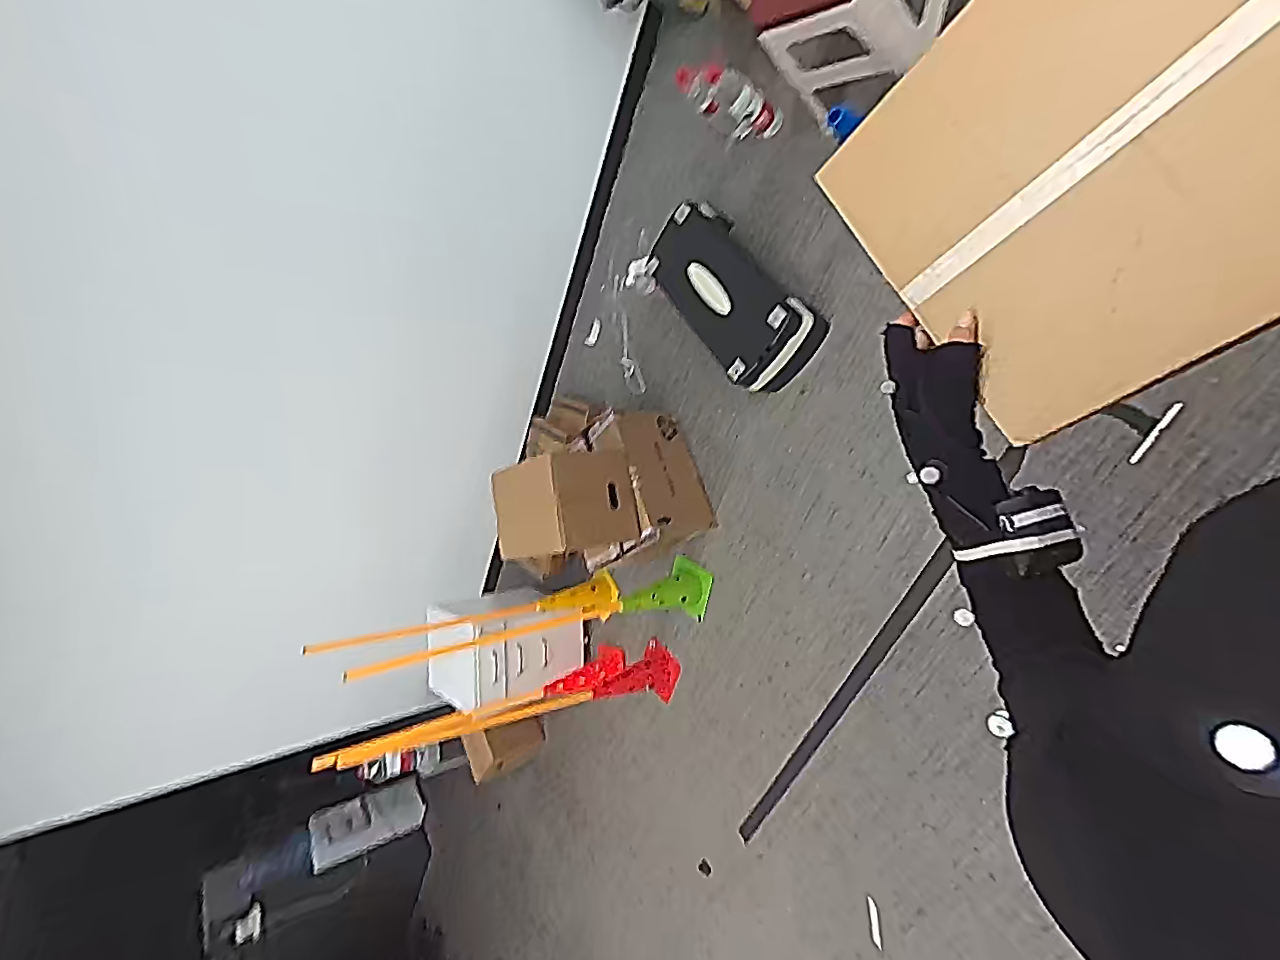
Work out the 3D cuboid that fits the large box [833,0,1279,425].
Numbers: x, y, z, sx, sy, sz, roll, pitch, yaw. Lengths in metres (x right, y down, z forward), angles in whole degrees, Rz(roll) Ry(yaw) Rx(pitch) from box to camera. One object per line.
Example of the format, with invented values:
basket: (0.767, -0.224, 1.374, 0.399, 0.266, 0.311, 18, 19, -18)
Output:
large box: (0.460, -0.286, 0.447, 0.408, 0.320, 0.320, -41, 69, 42)
